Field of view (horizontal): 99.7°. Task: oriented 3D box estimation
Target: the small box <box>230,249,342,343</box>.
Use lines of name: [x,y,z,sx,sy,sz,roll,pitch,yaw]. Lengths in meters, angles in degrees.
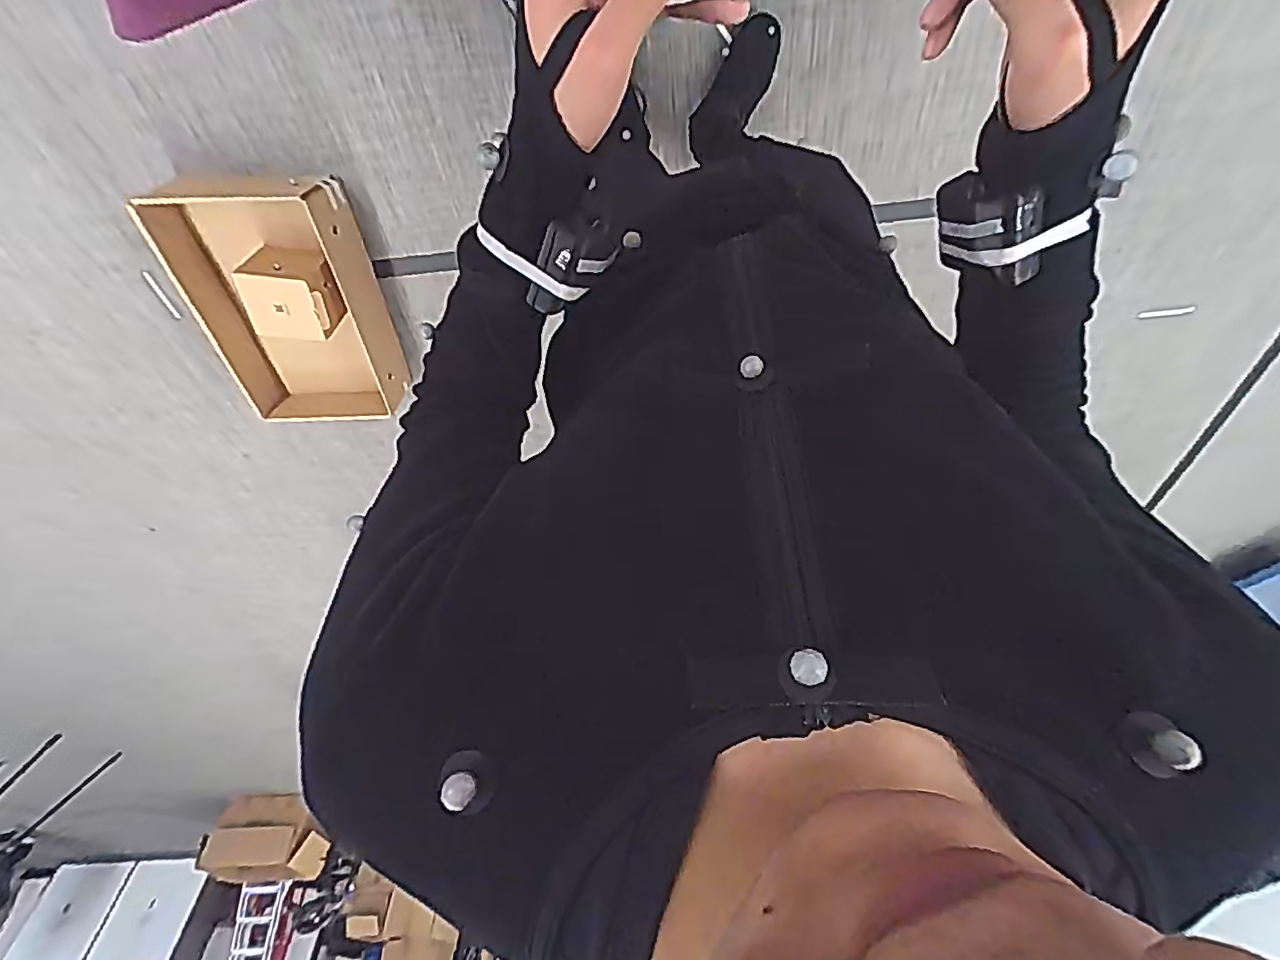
small box: [-0.890,-0.474,1.386,0.179,0.176,0.168,4,134,-6]
